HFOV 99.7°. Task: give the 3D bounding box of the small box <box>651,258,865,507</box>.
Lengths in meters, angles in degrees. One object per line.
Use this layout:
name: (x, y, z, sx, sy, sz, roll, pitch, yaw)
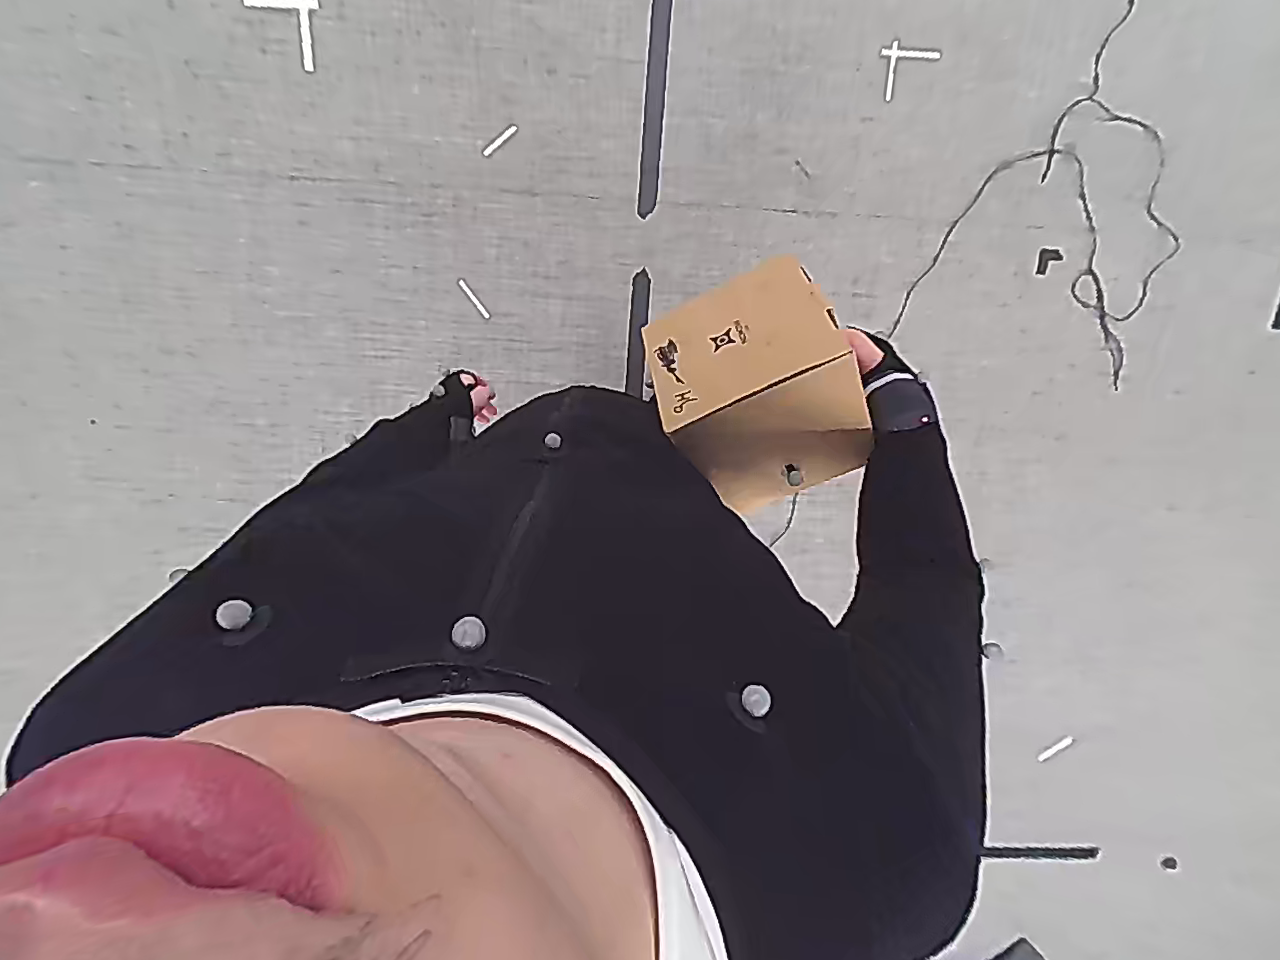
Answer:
small box: (0.133, -0.098, 0.595, 0.179, 0.168, 0.176, -23, 139, 16)
